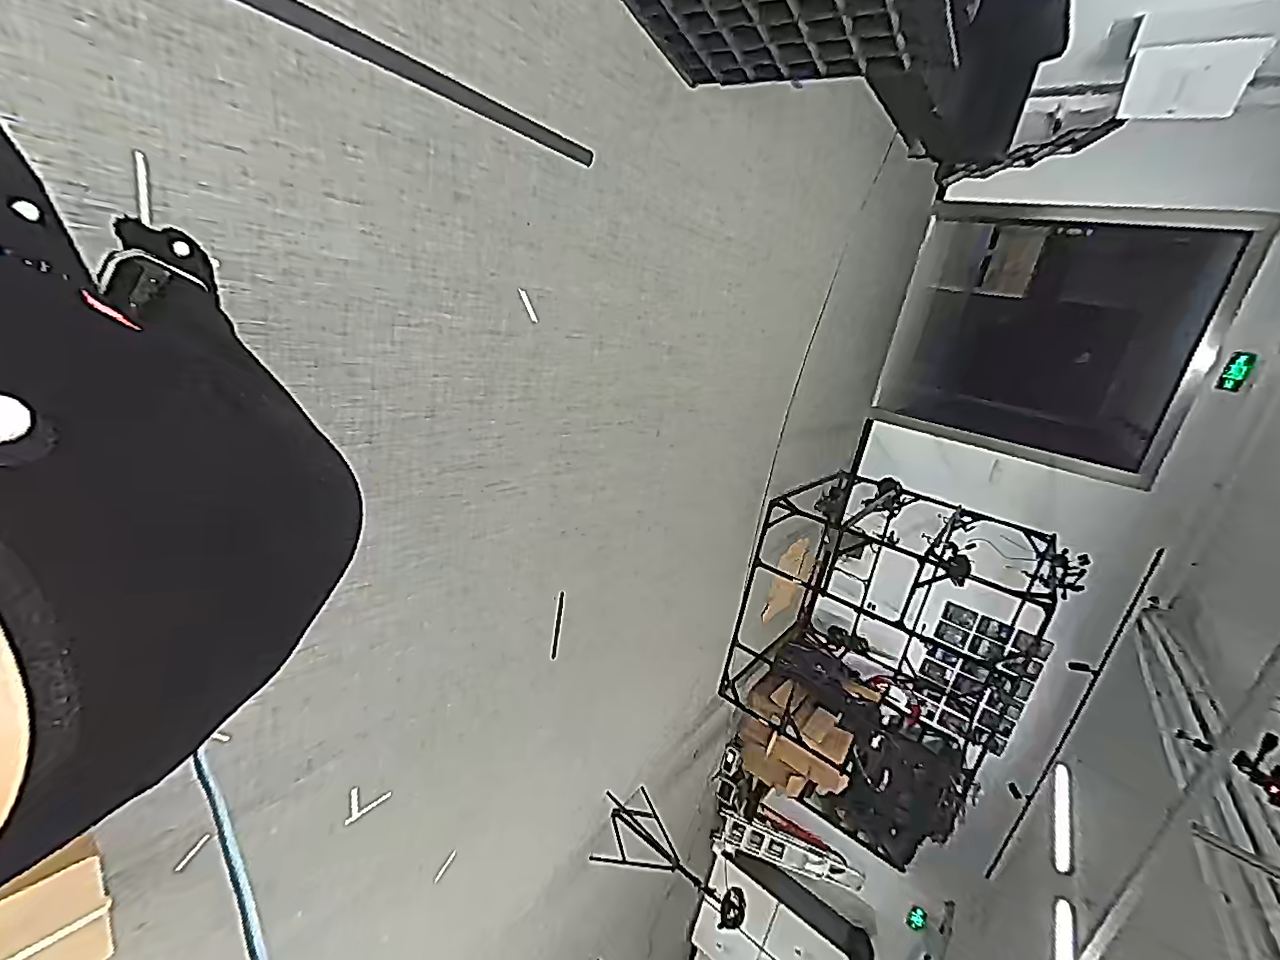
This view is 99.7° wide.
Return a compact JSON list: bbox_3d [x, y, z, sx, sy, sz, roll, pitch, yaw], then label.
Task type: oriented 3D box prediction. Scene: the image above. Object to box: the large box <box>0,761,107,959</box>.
[{"bbox_3d":[-1.372,0.858,1.060,0.408,0.320,0.320,-13,119,-52],"label":"large box"}]
